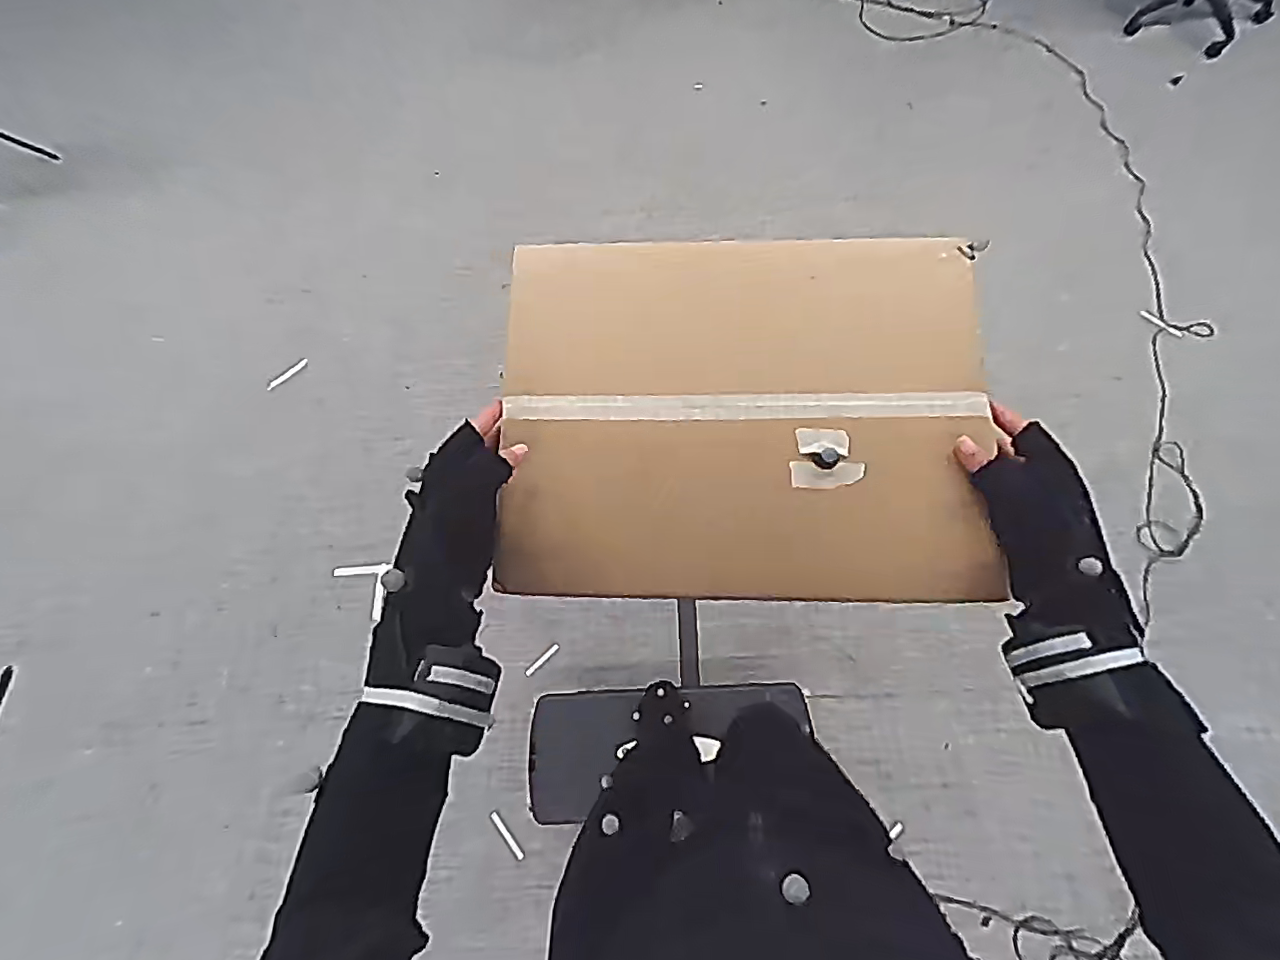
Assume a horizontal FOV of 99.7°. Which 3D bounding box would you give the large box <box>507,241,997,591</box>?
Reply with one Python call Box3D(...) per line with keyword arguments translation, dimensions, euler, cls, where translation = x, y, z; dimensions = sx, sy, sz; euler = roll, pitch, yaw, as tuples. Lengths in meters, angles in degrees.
Box3D(translation=(0.091, -0.035, 0.611), dimensions=(0.408, 0.320, 0.320), euler=(0, 79, 2), cls="large box")
